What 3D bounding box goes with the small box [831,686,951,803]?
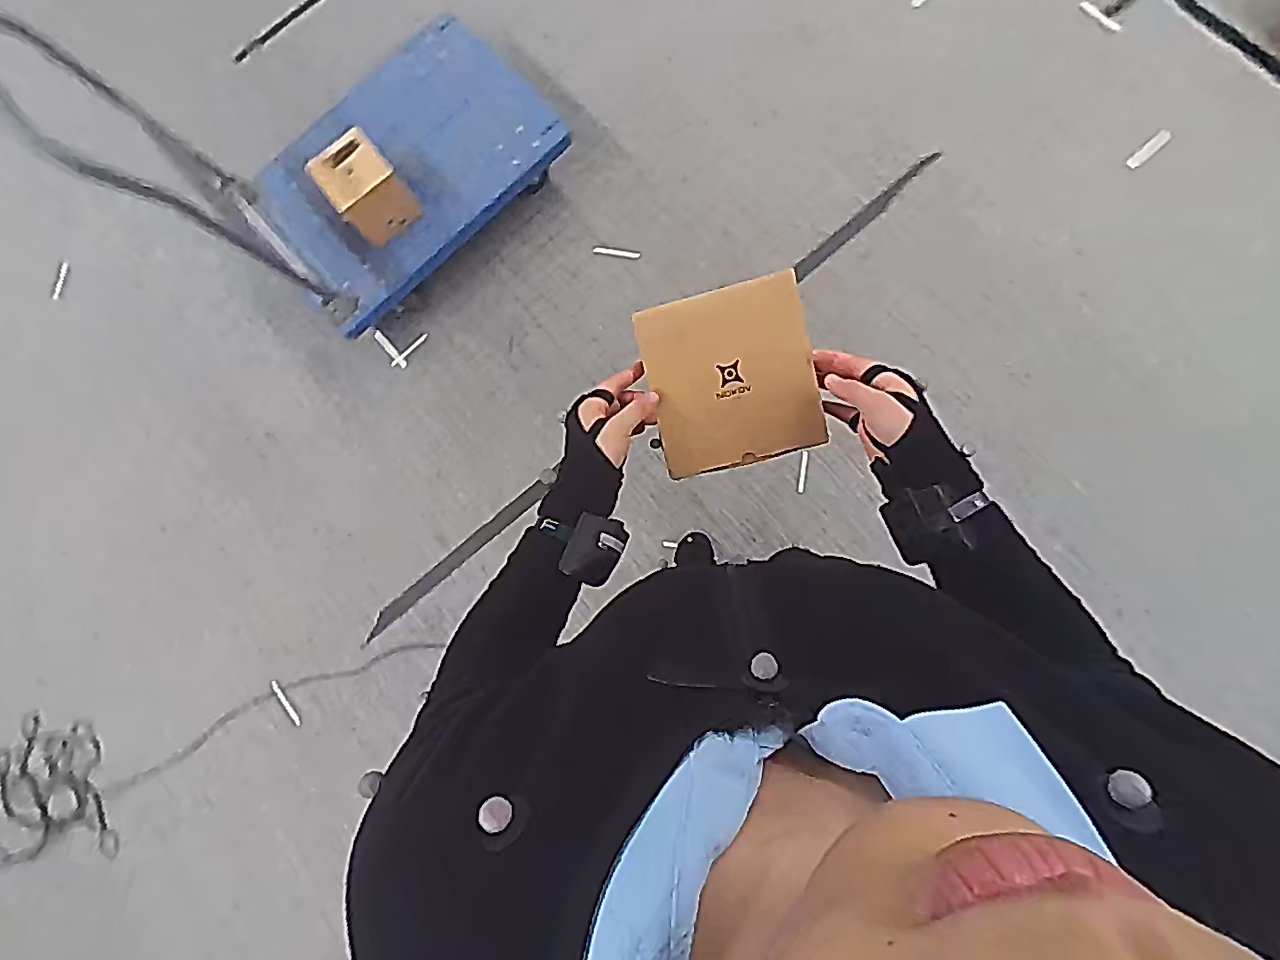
[{"bbox_3d":[0.605,0.635,1.326,0.179,0.176,0.168,37,86,8],"label":"small box"}]
